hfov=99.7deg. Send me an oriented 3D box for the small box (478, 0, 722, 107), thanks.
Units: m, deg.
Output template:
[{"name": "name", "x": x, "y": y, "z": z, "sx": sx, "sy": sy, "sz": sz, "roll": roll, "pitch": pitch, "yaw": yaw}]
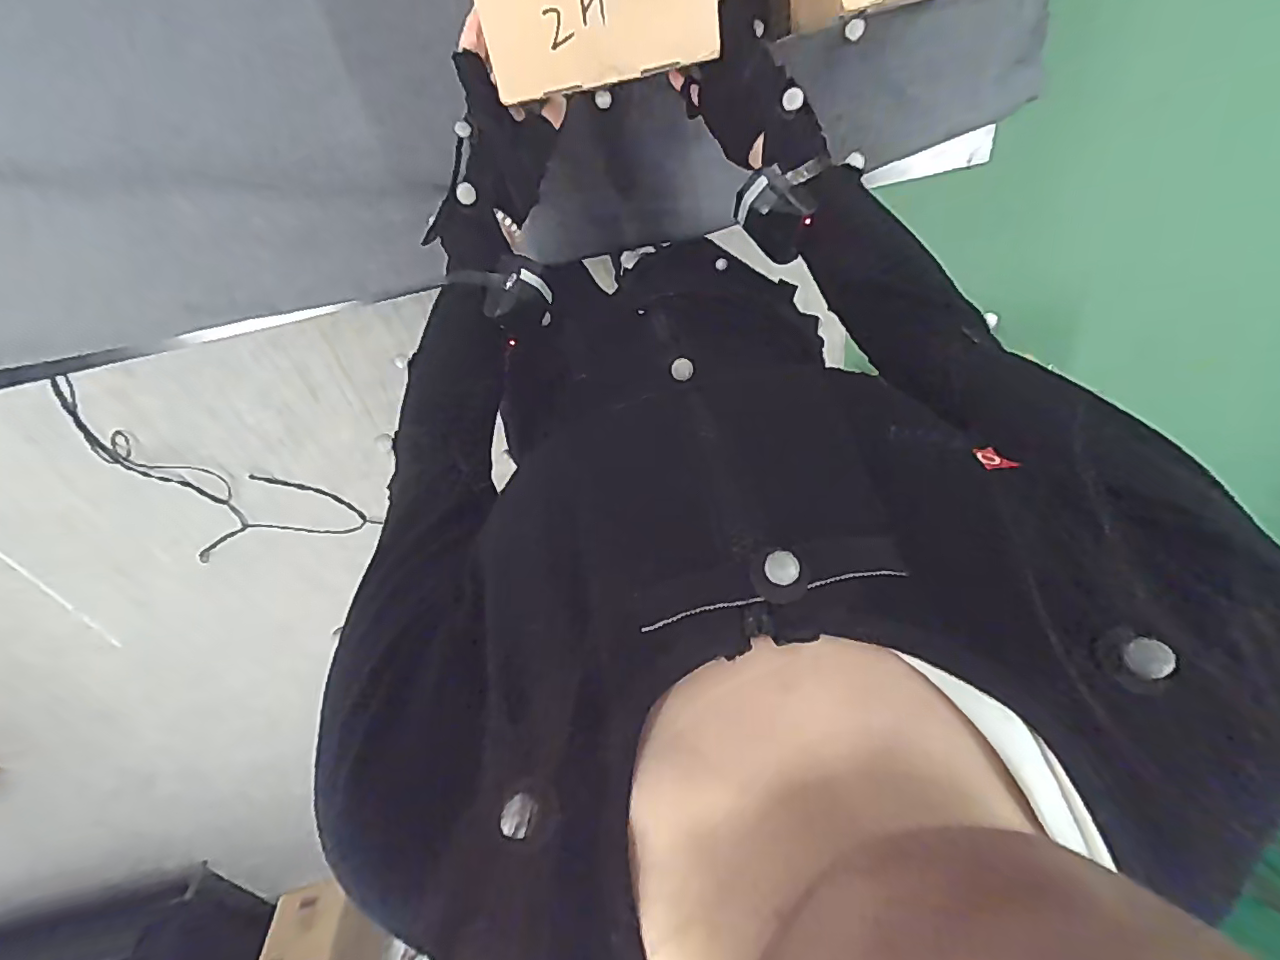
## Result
[{"name": "small box", "x": -0.044, "y": -0.404, "z": 0.409, "sx": 0.168, "sy": 0.176, "sz": 0.179, "roll": -12, "pitch": 124, "yaw": 1}]
